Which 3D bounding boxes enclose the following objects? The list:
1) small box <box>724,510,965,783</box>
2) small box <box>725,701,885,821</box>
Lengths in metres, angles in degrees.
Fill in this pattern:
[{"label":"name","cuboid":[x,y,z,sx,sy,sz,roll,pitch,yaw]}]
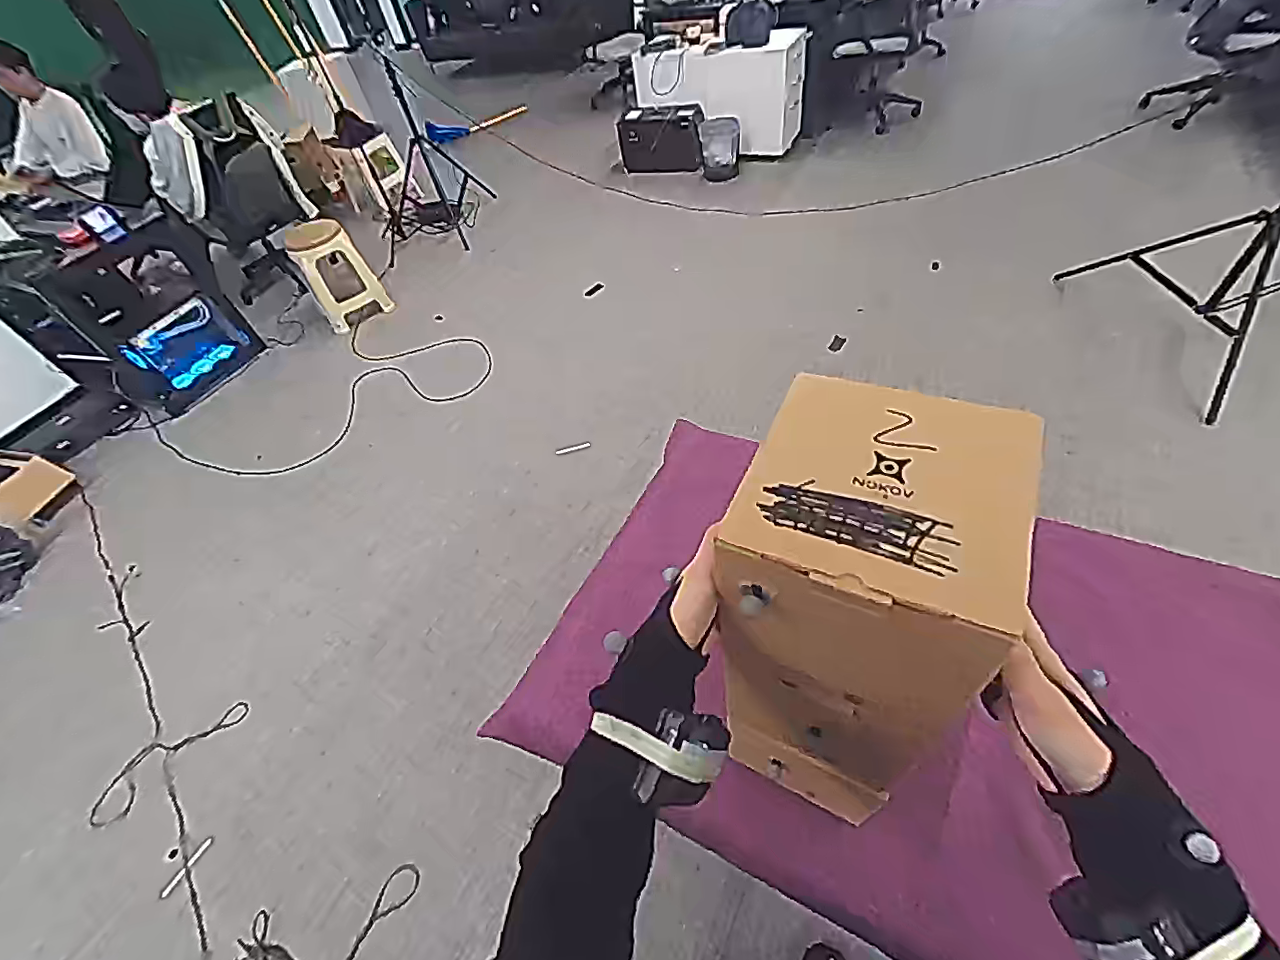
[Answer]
[{"label":"small box","cuboid":[0.193,0.165,0.533,0.168,0.176,0.179,17,55,23]},{"label":"small box","cuboid":[0.215,0.275,0.653,0.168,0.176,0.179,19,55,24]}]
